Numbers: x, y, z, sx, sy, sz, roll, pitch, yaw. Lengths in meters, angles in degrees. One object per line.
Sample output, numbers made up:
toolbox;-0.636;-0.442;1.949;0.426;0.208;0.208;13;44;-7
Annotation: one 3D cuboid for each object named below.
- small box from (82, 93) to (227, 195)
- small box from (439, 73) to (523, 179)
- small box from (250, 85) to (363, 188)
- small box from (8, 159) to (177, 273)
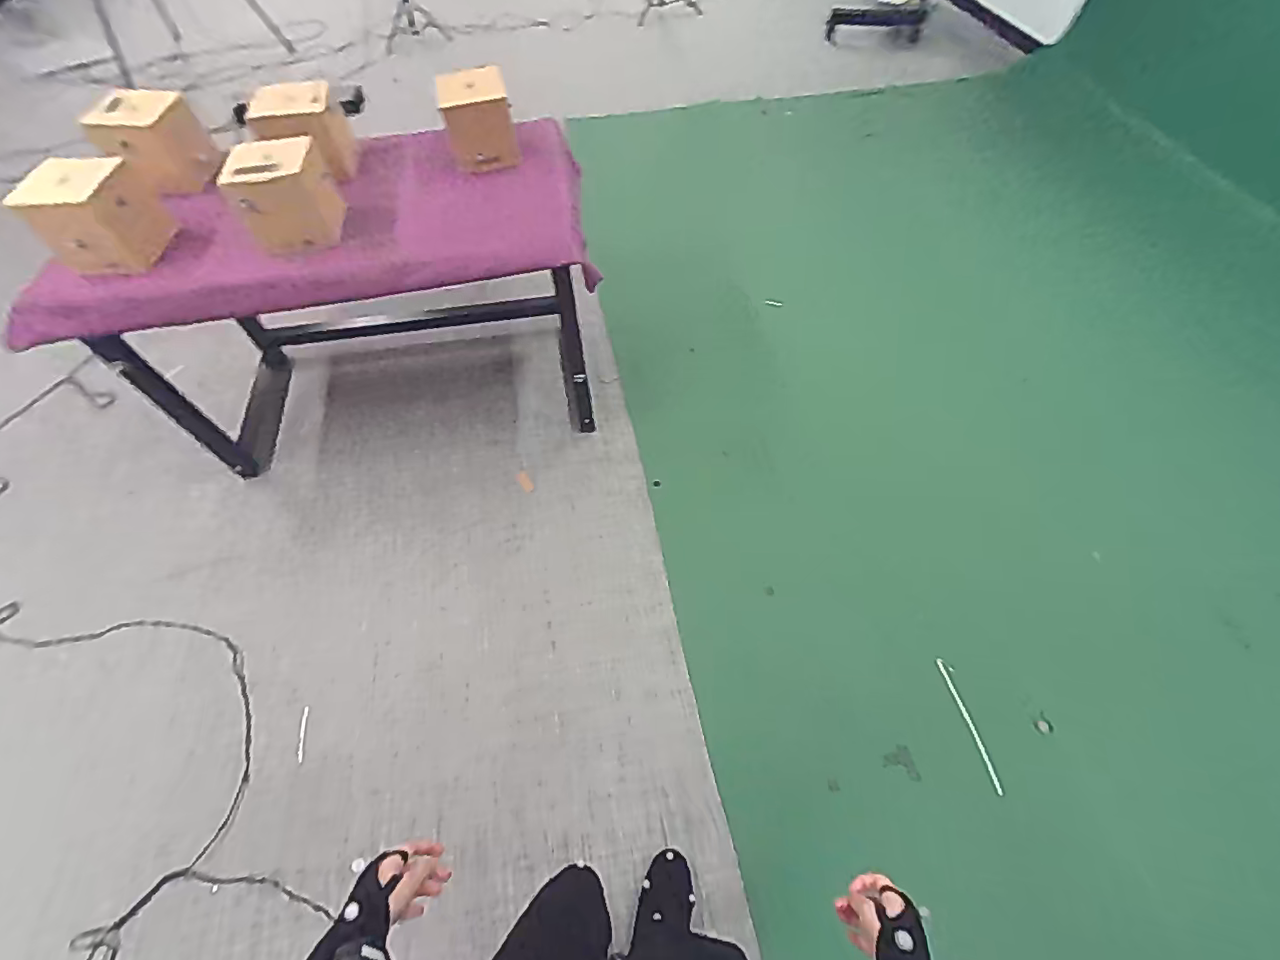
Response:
small box;-1.211;-0.844;1.365;0.179;0.176;0.168;2;58;1
small box;-0.412;-0.920;1.408;0.168;0.176;0.179;-13;59;-6
small box;-0.842;-0.872;1.382;0.179;0.176;0.168;-9;59;-5
small box;-1.185;-0.576;1.191;0.168;0.176;0.179;-2;57;-1
